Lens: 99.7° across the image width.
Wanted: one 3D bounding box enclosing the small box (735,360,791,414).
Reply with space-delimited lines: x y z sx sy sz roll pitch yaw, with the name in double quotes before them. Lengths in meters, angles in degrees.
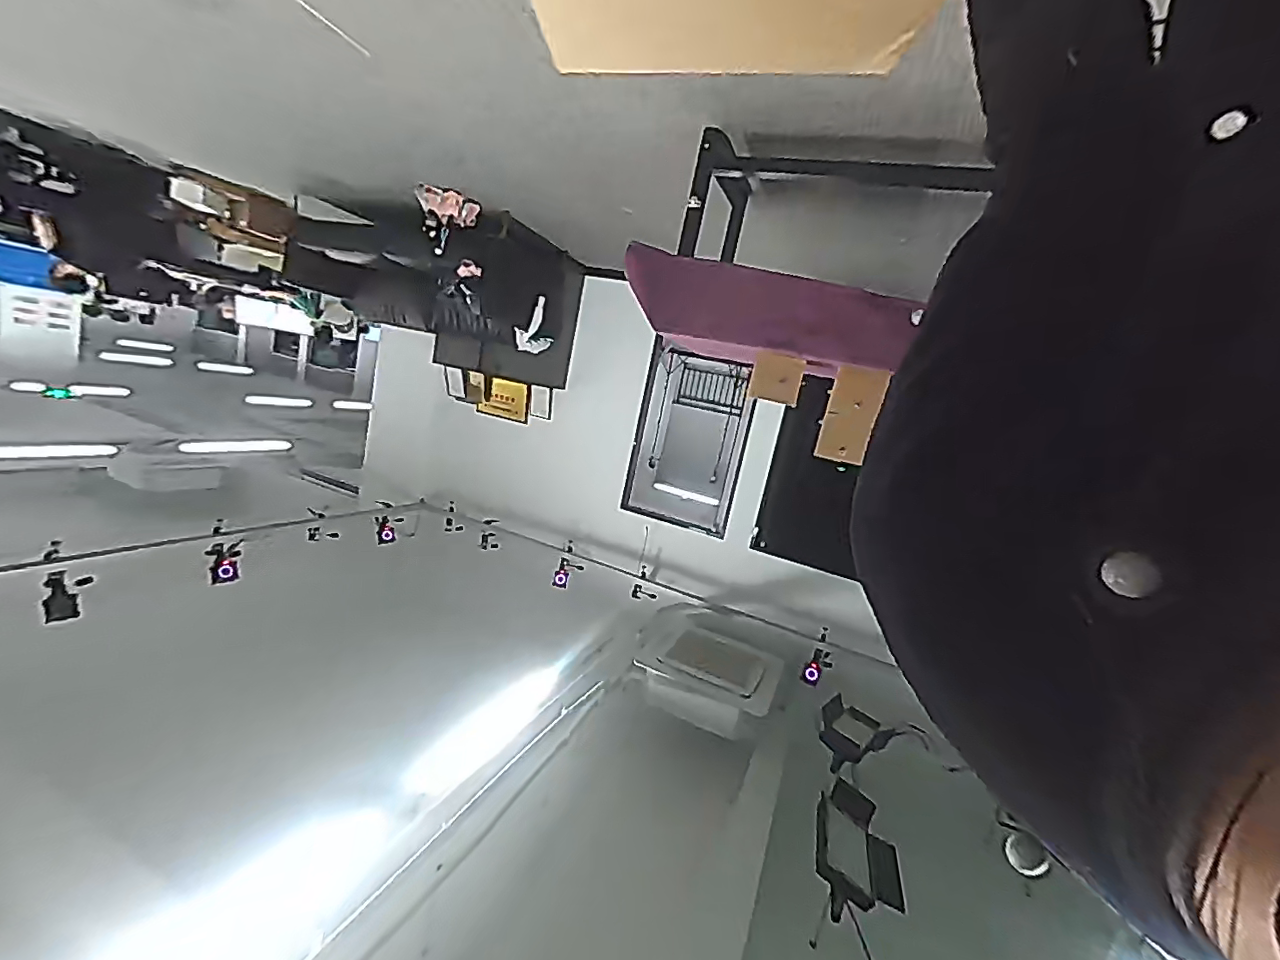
"small box" 0.465 -0.352 2.044 0.179 0.176 0.168 14 -172 11
